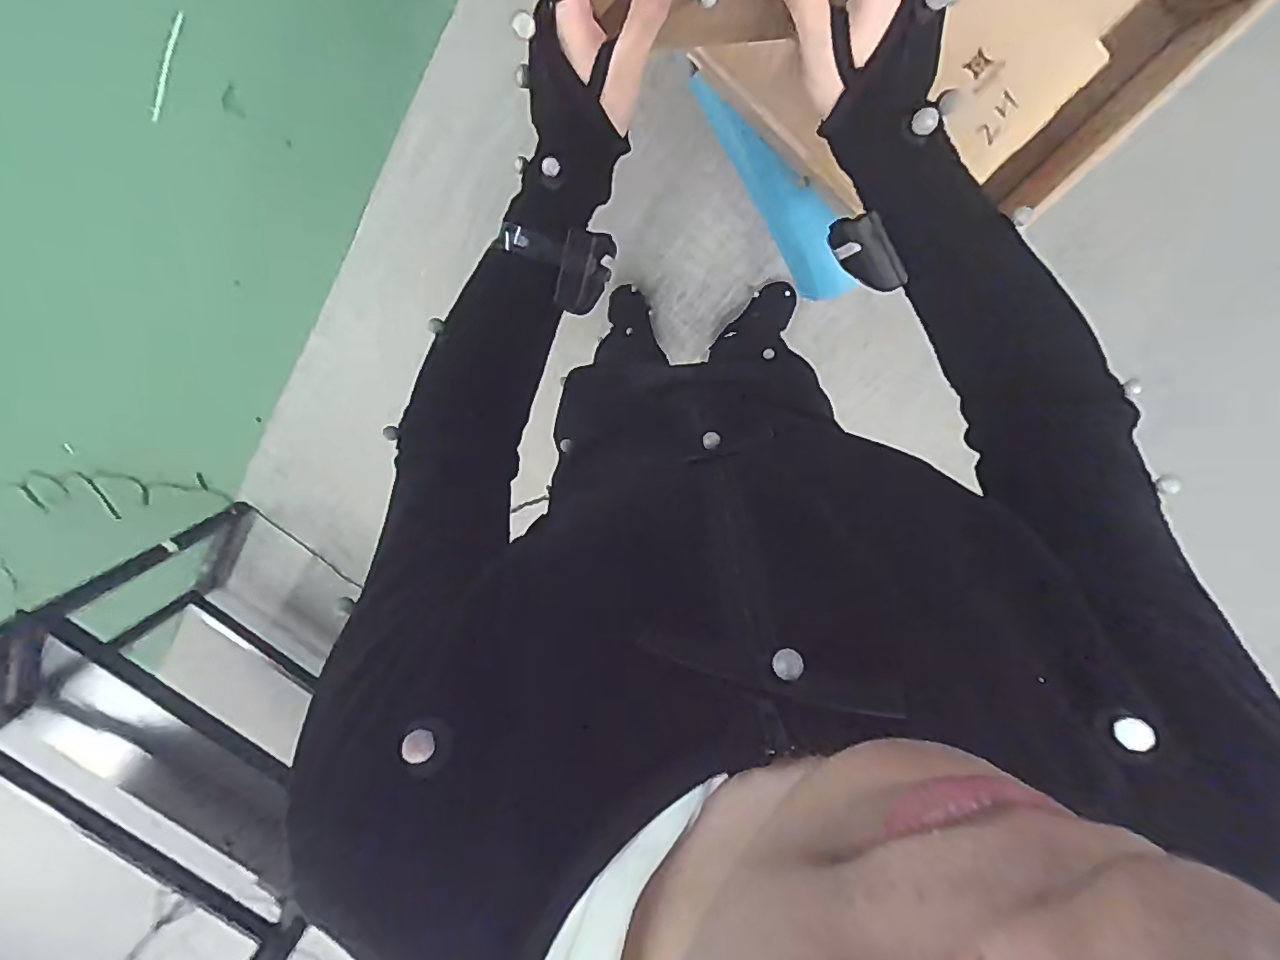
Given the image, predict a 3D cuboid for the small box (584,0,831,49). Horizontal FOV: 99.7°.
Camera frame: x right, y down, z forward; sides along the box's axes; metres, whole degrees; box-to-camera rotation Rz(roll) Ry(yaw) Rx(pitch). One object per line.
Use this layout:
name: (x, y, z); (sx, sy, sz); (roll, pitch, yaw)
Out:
small box: (0.044, -0.387, 0.313); (0.179, 0.176, 0.168); (1, 108, 10)
